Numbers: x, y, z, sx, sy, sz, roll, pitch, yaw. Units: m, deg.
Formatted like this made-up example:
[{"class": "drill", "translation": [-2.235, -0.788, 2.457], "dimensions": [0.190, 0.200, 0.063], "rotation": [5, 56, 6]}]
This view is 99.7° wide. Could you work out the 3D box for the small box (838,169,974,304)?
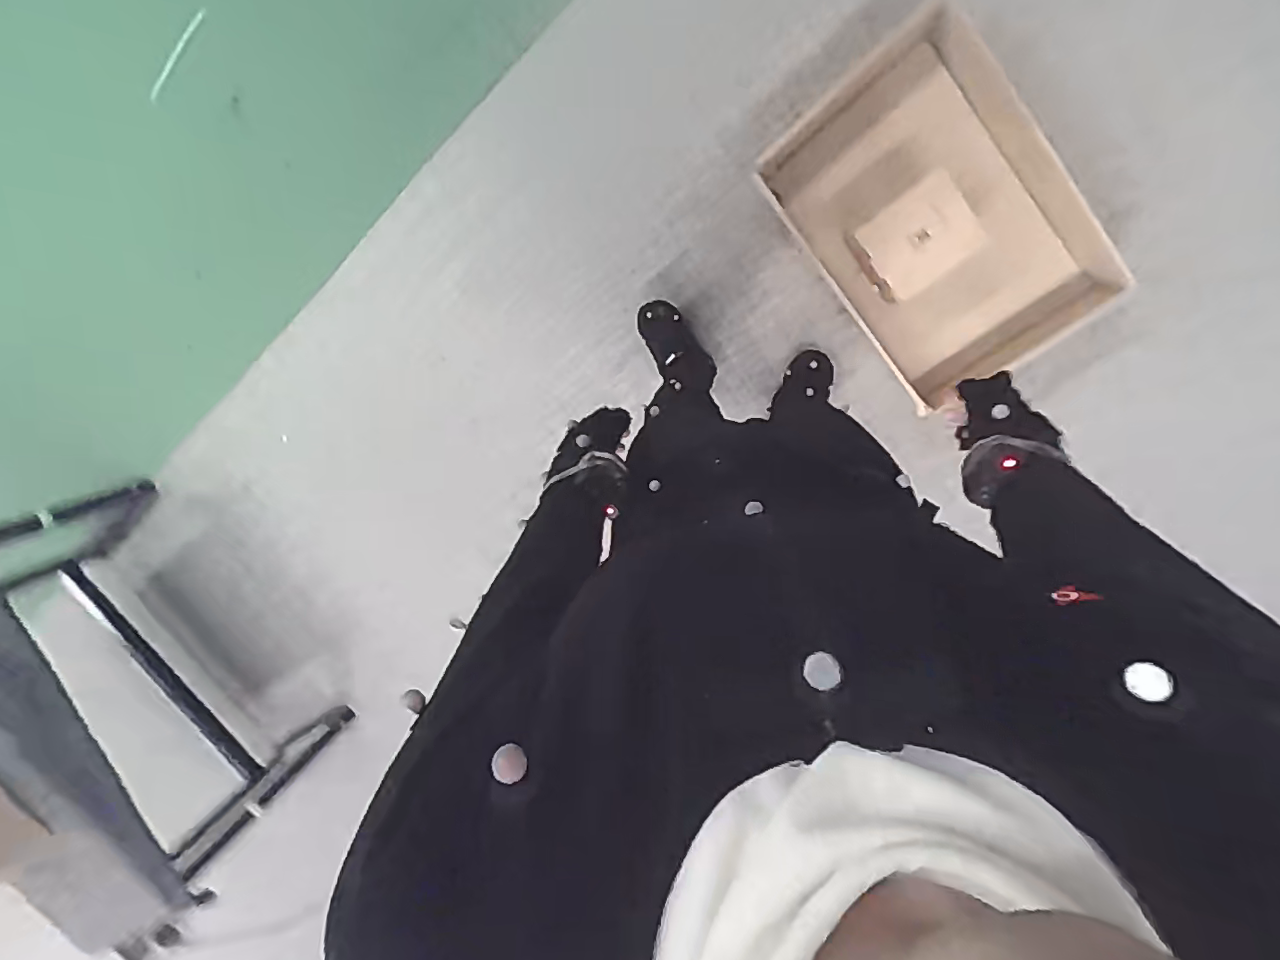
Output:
[{"class": "small box", "translation": [0.513, -0.471, 1.076], "dimensions": [0.179, 0.176, 0.168], "rotation": [-35, 99, 20]}]
